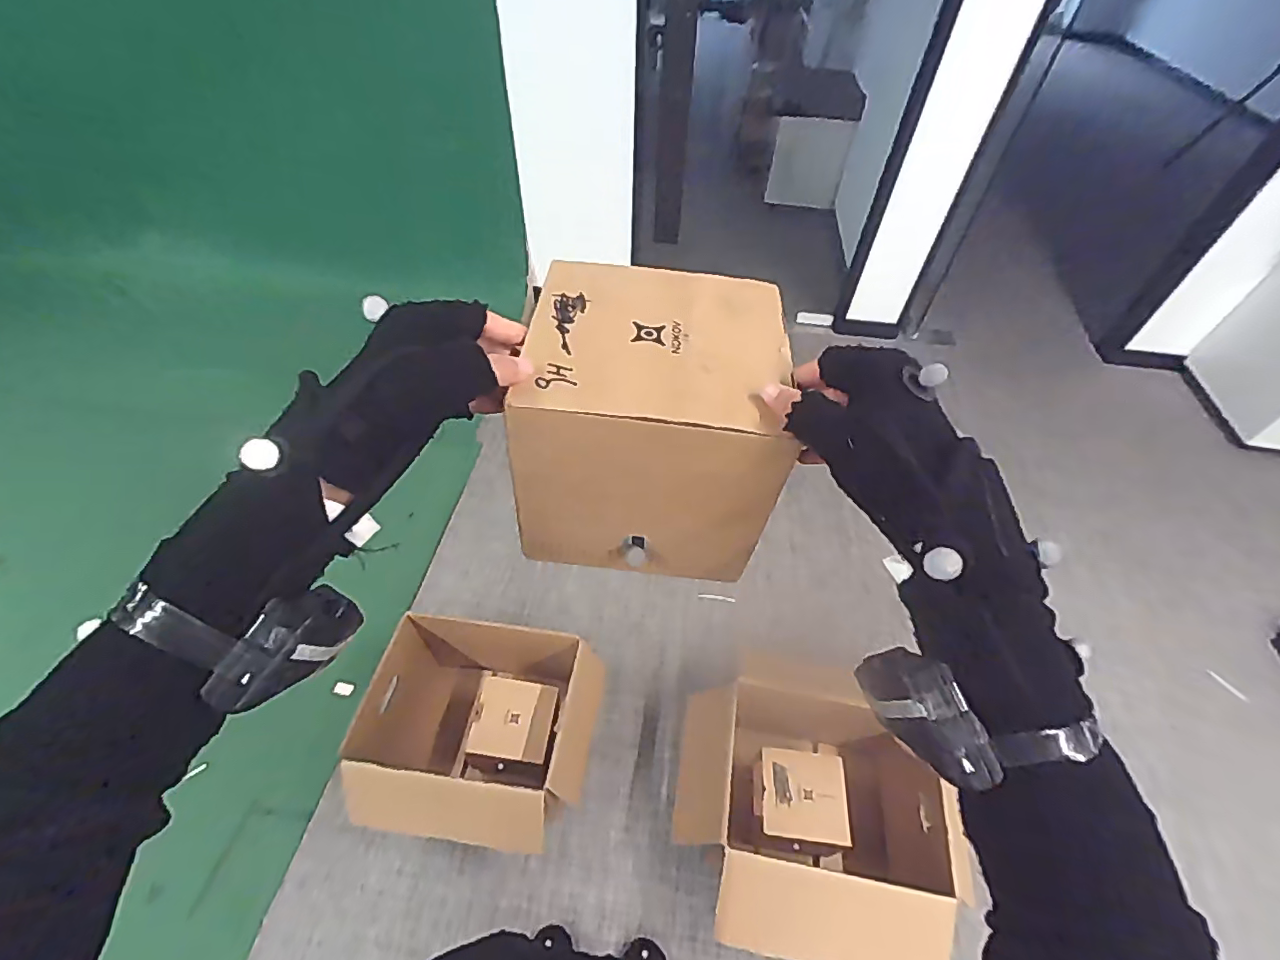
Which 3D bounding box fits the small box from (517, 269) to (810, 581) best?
[{"bbox_3d":[0.011,-0.036,0.424,0.179,0.176,0.168,6,49,-3],"label":"small box"}]
